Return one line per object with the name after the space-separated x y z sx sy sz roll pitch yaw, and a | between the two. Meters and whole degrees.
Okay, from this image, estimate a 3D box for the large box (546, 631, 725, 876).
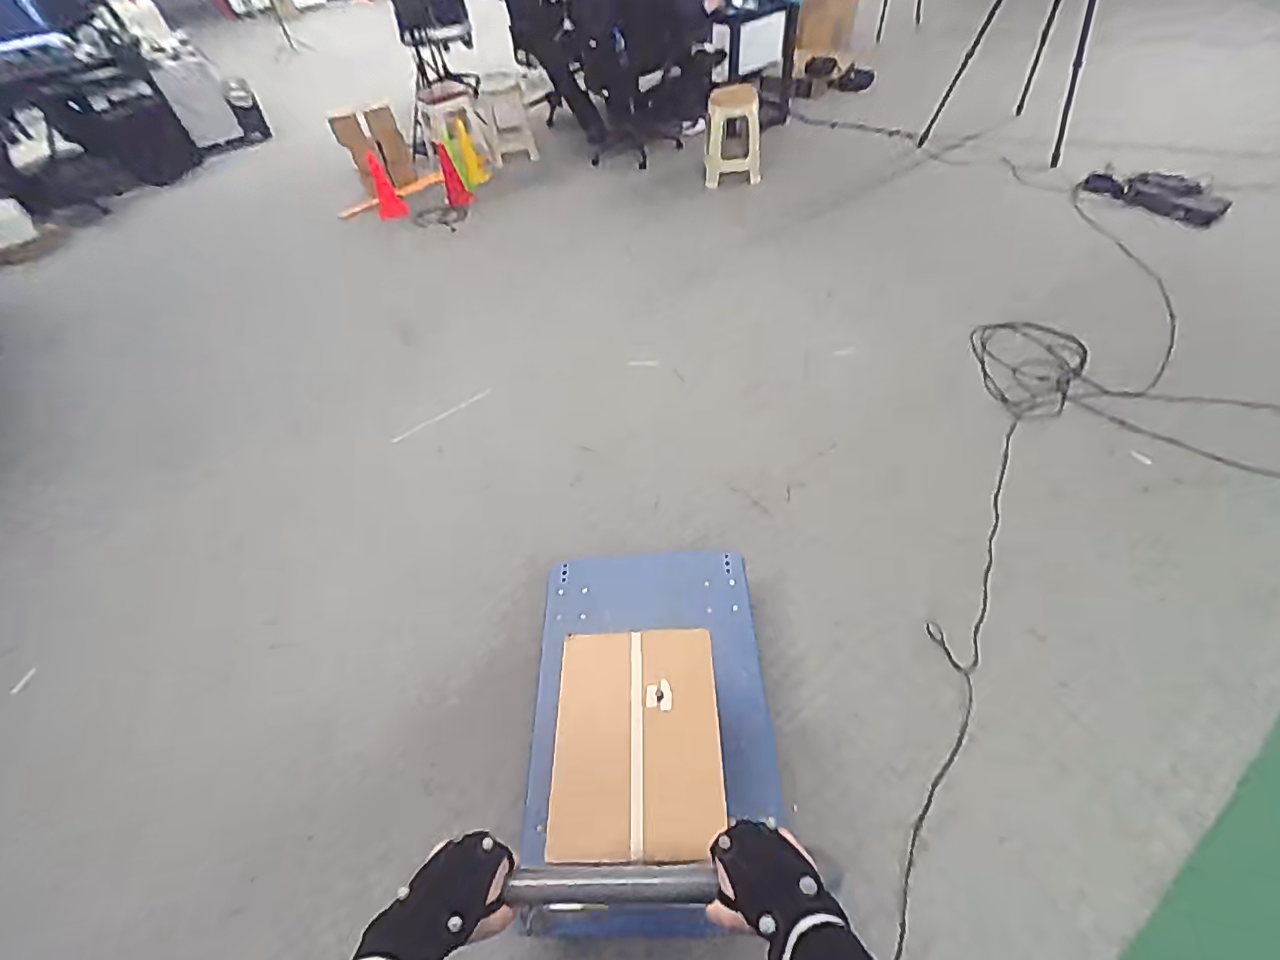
0.002 0.584 1.157 0.320 0.320 0.408 -3 49 4 | large box
